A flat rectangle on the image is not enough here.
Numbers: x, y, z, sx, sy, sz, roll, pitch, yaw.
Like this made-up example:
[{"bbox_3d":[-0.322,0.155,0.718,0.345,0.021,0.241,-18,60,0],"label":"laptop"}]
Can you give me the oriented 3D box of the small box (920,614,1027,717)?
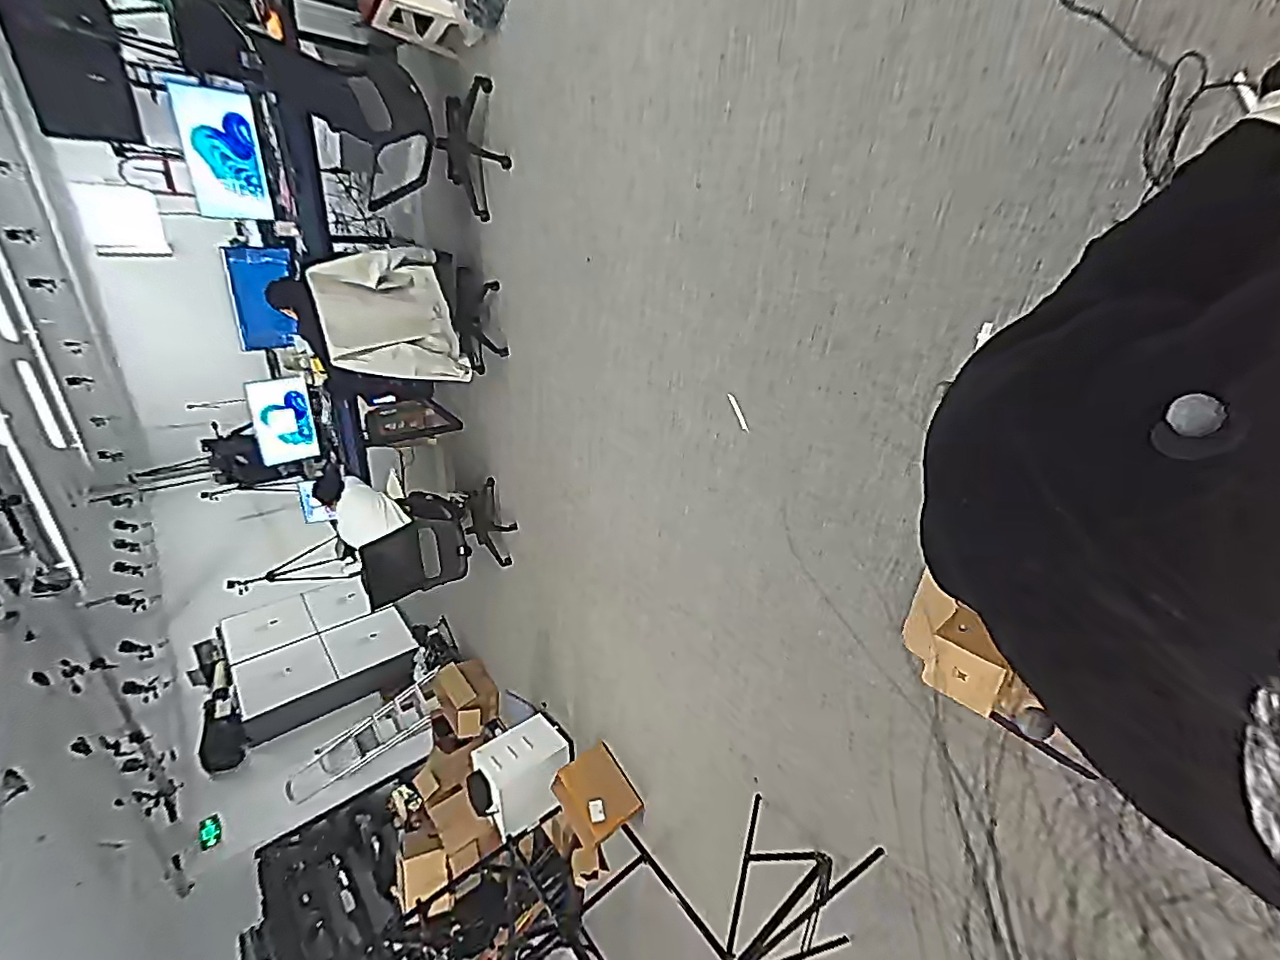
[{"bbox_3d":[0.890,0.482,1.445,0.179,0.176,0.168,26,125,44],"label":"small box"}]
